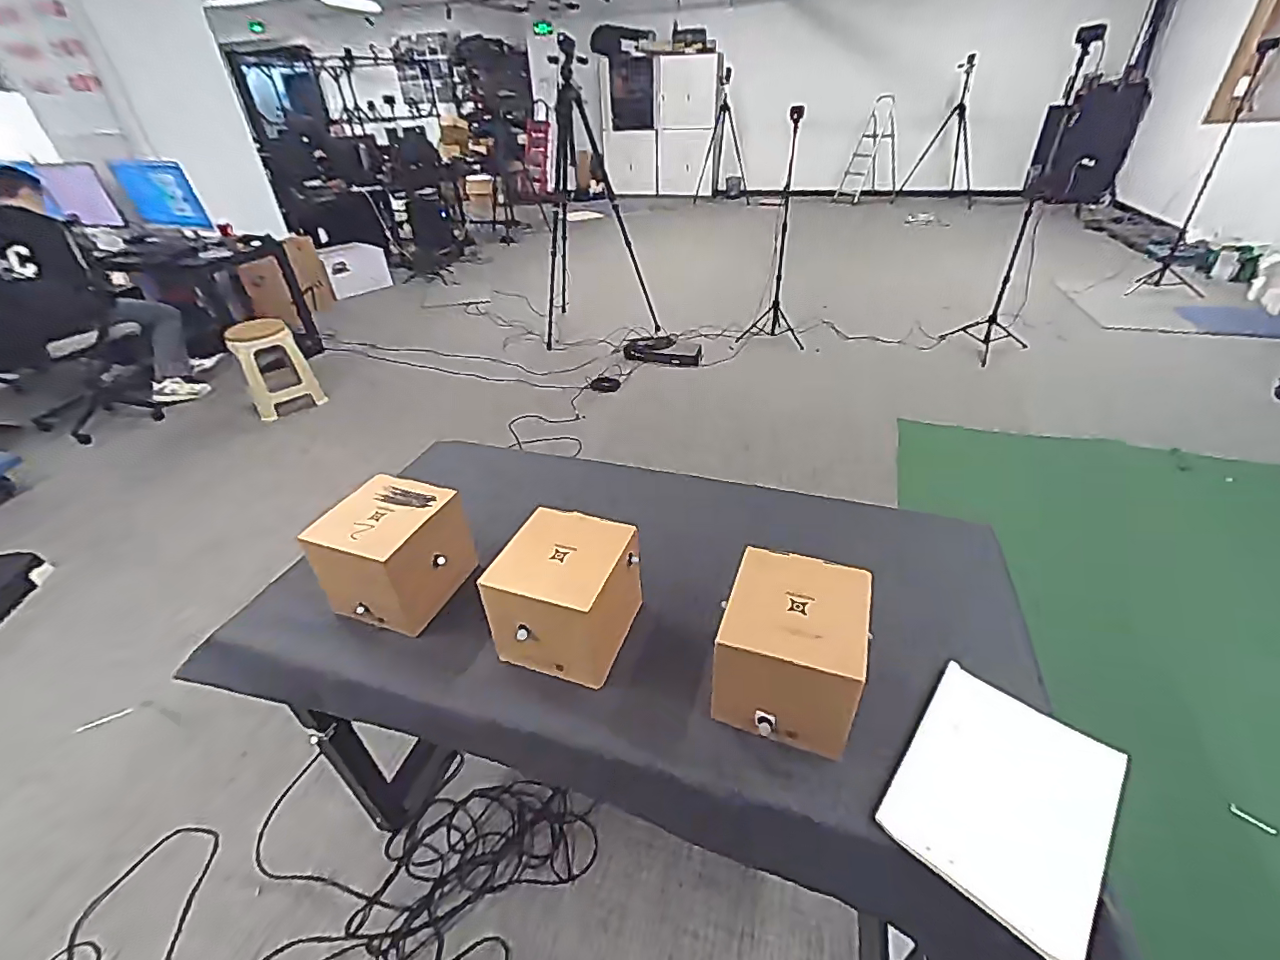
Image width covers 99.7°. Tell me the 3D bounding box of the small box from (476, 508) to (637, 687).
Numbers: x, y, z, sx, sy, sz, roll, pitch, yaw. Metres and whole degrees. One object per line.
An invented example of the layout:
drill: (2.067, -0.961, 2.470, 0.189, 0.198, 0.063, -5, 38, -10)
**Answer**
small box: (-0.106, 0.168, 0.790, 0.168, 0.176, 0.179, 10, 36, 17)

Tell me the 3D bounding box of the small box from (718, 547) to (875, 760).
small box: (0.198, 0.218, 0.699, 0.168, 0.176, 0.179, 9, 38, 19)
